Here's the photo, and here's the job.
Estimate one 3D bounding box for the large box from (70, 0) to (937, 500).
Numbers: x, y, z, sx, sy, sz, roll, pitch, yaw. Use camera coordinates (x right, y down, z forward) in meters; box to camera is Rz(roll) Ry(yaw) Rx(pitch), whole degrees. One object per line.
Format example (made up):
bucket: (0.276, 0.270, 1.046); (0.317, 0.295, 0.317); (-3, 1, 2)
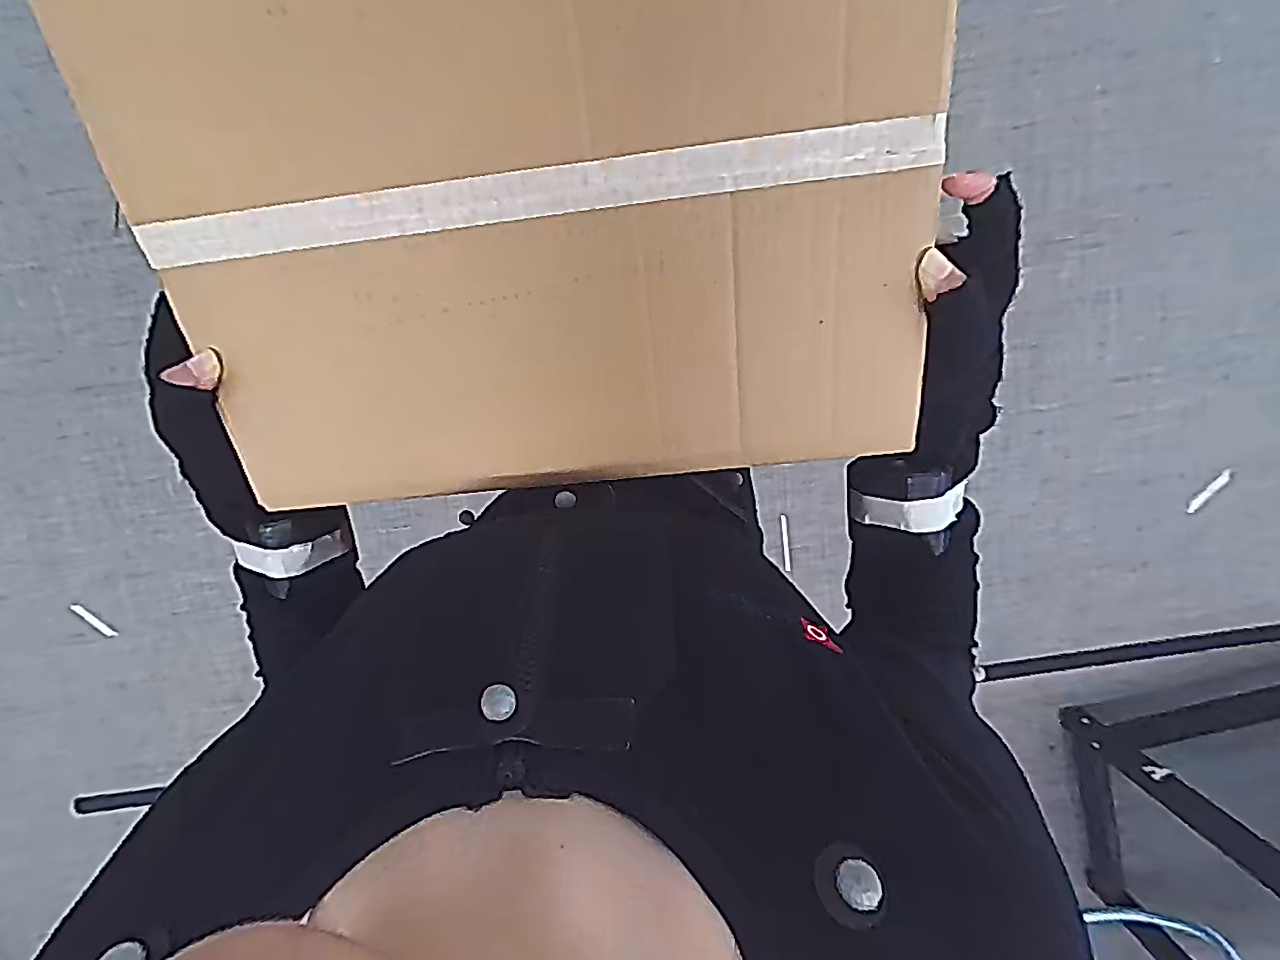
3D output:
large box: (-0.055, -0.205, 0.417); (0.408, 0.320, 0.320); (-6, 114, 4)
